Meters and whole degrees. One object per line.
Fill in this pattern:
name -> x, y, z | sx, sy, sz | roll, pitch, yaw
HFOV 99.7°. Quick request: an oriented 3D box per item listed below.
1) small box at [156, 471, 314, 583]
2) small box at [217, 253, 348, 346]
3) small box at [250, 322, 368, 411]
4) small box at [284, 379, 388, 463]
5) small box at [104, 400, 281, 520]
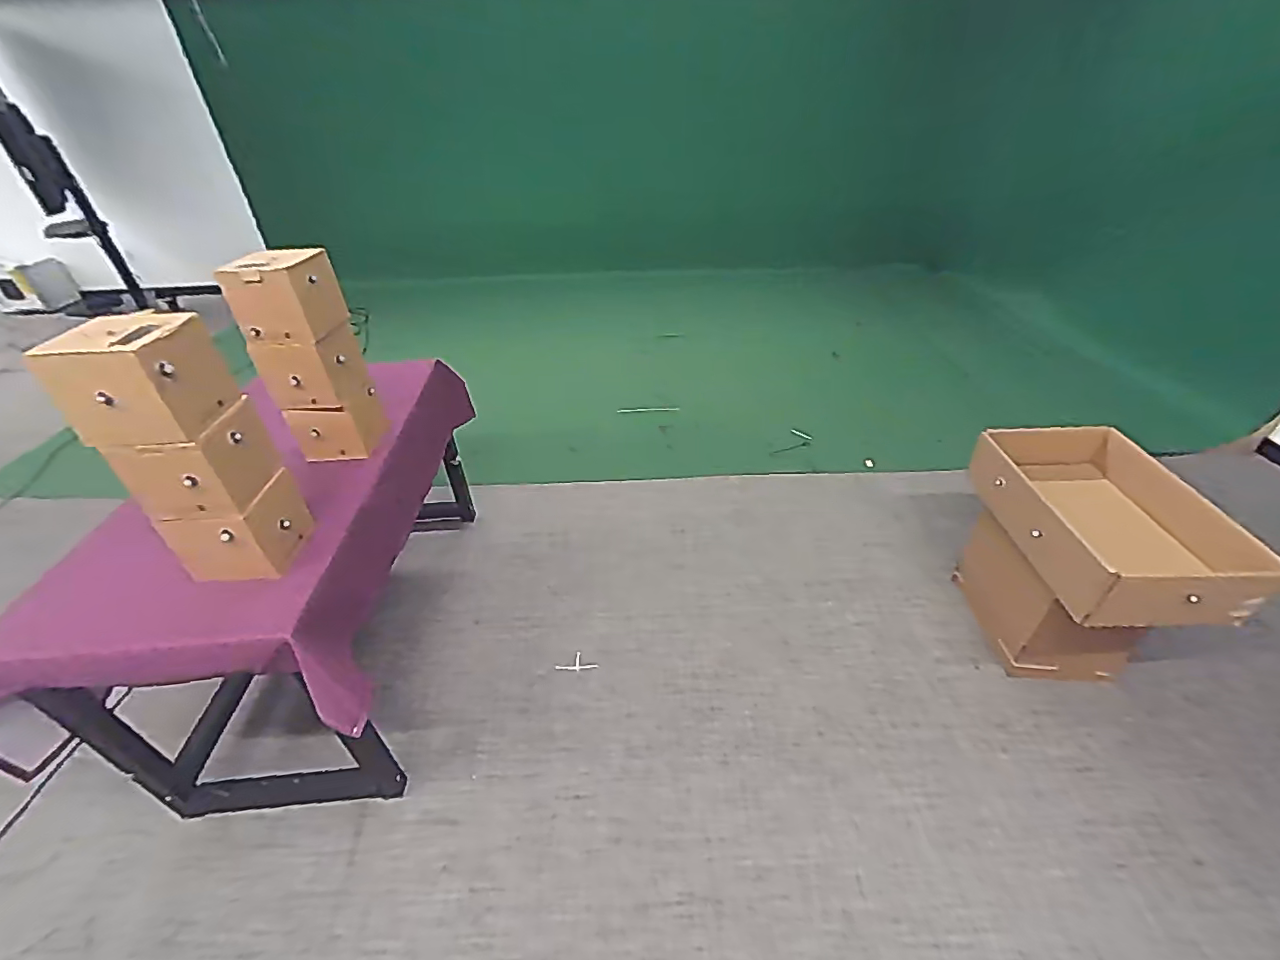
small box -> -0.822, 0.099, 1.124 | 0.179, 0.176, 0.168 | -3, 36, 1
small box -> -0.824, -0.421, 1.271 | 0.168, 0.176, 0.179 | -1, 35, 3
small box -> -0.818, -0.284, 1.363 | 0.168, 0.176, 0.179 | -1, 37, 2
small box -> -0.811, -0.157, 1.467 | 0.168, 0.176, 0.179 | -4, 37, 0
small box -> -0.829, -0.035, 1.031 | 0.168, 0.176, 0.179 | -3, 36, -1
